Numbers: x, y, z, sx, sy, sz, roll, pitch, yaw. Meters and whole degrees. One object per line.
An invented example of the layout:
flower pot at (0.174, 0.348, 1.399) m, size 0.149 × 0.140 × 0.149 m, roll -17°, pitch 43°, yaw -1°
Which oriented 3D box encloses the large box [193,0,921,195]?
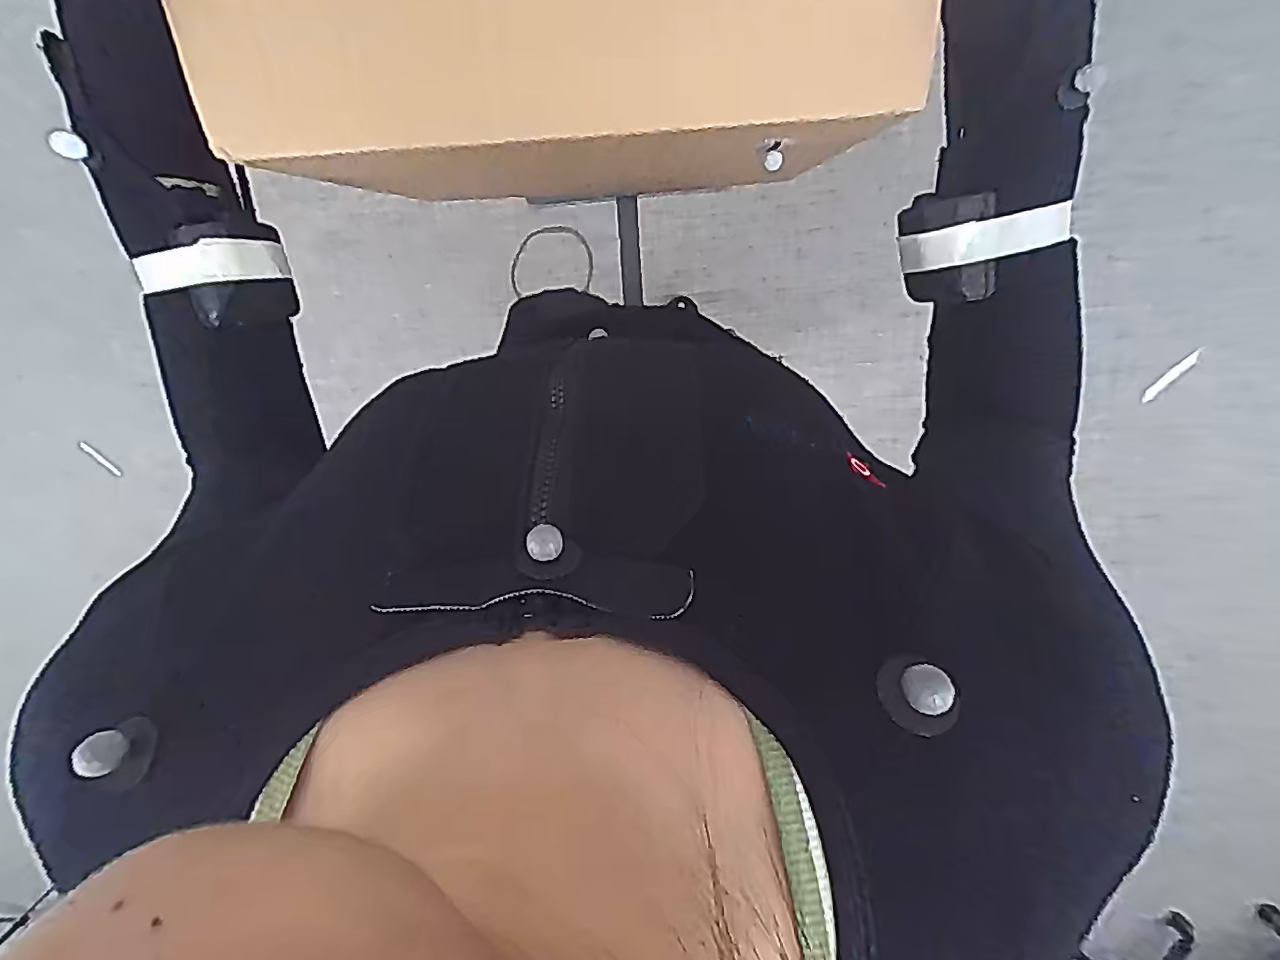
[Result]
large box at (-0.047, -0.402, 0.394) m, size 0.408 × 0.320 × 0.320 m, roll -2°, pitch 113°, yaw 3°
